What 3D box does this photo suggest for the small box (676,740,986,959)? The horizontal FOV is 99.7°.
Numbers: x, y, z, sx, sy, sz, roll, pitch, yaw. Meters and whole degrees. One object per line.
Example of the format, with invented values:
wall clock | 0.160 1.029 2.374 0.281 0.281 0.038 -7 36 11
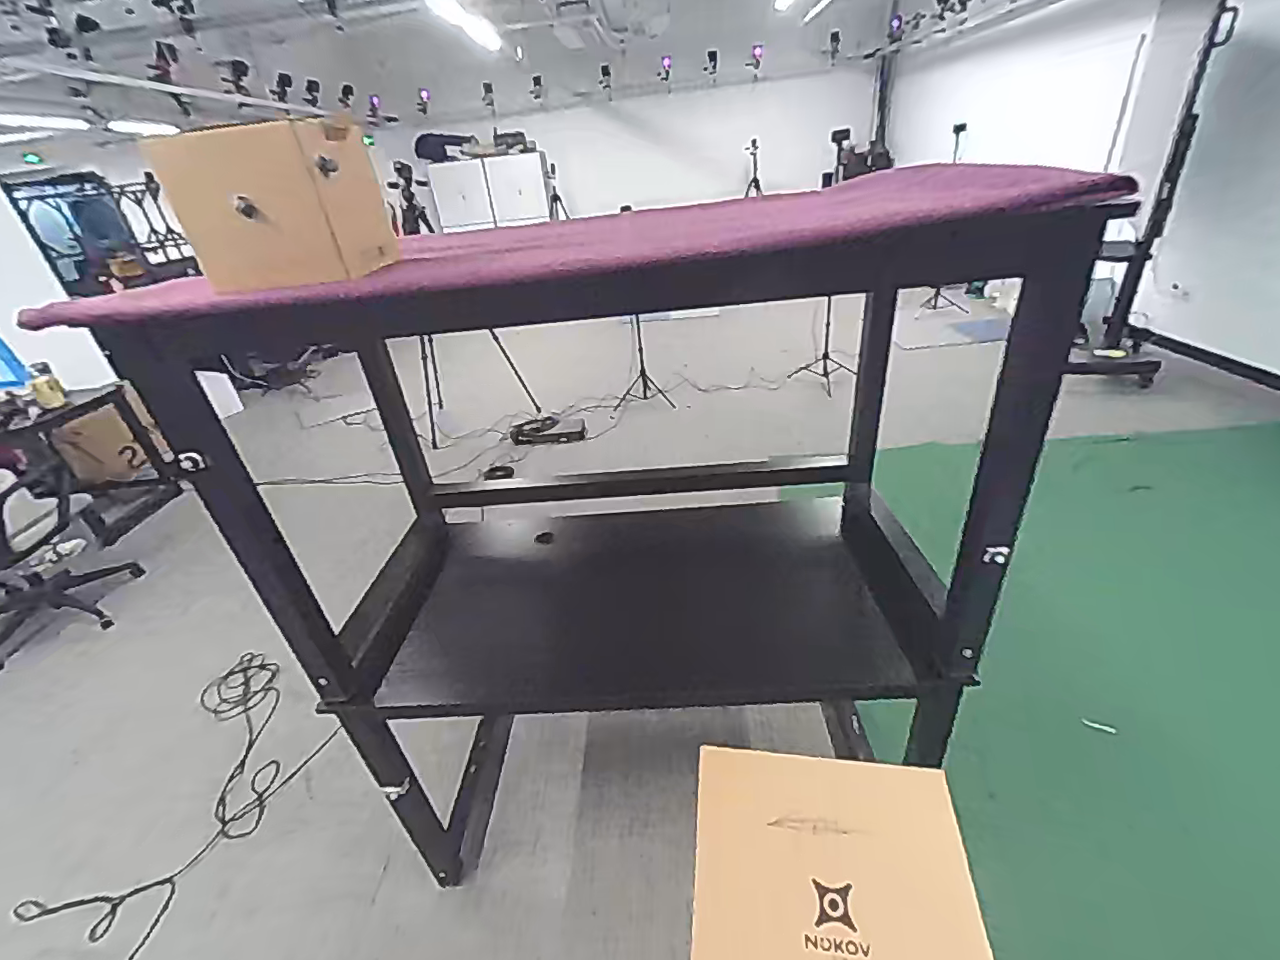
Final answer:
small box | 0.110 0.302 0.360 0.168 0.176 0.179 2 41 7
